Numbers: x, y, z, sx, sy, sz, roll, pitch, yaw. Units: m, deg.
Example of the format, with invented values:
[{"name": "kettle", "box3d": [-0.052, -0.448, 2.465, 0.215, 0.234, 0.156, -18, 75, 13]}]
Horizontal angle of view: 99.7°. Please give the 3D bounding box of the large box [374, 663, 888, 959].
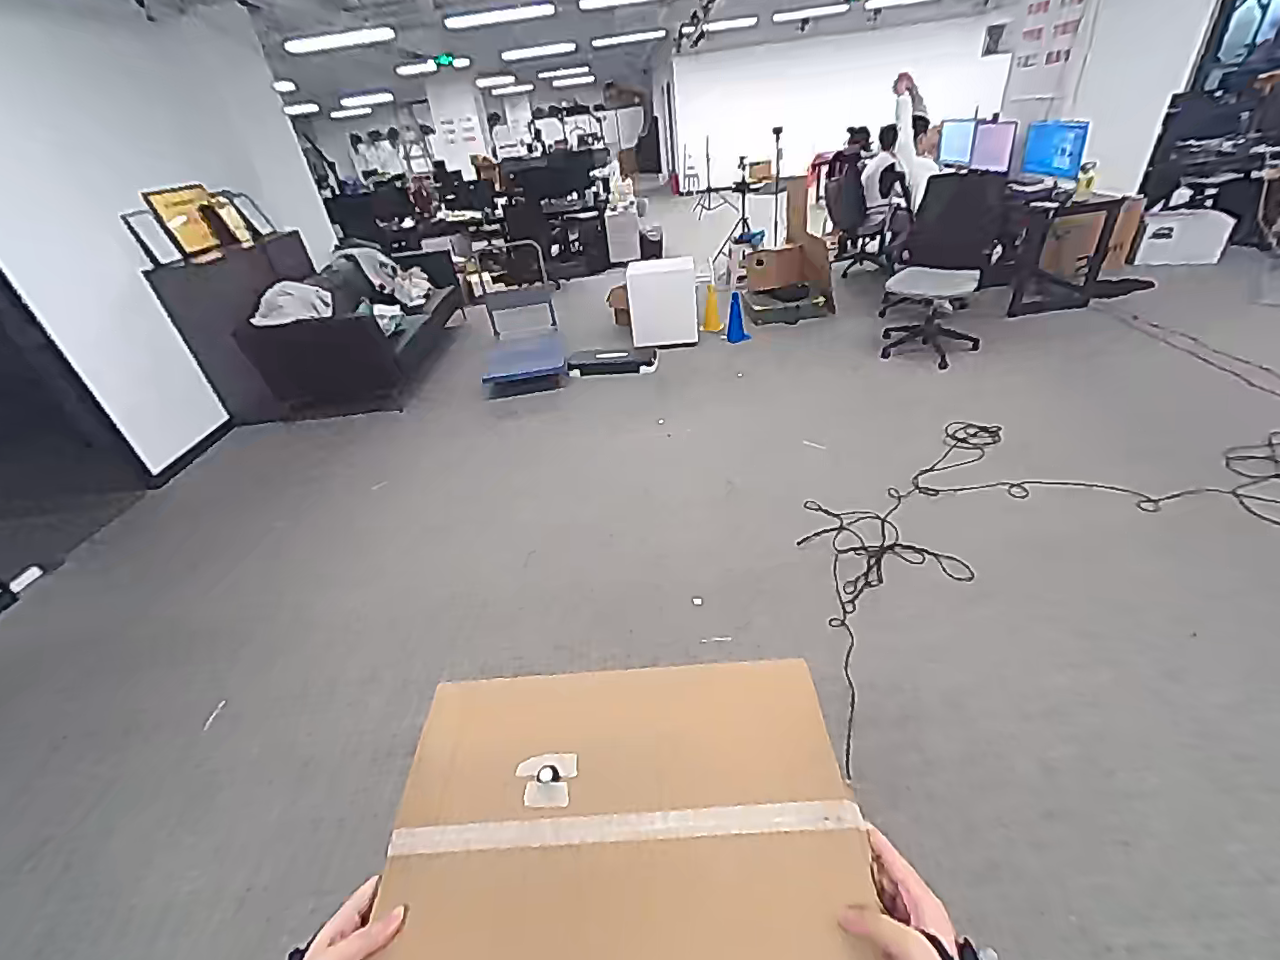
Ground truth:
[{"name": "large box", "box3d": [0.002, 0.431, 0.571, 0.408, 0.320, 0.320, -6, 38, 4]}]
